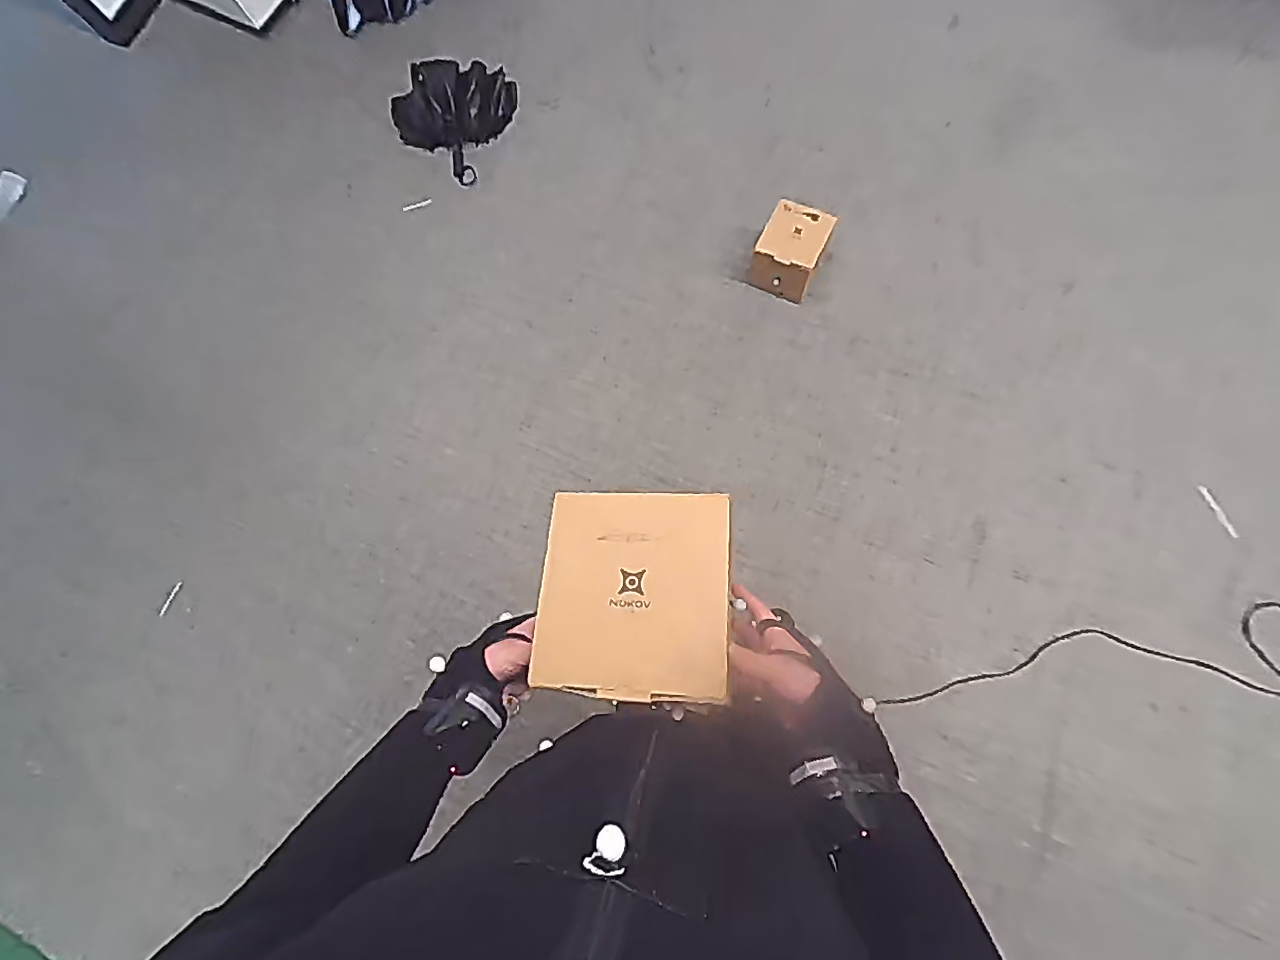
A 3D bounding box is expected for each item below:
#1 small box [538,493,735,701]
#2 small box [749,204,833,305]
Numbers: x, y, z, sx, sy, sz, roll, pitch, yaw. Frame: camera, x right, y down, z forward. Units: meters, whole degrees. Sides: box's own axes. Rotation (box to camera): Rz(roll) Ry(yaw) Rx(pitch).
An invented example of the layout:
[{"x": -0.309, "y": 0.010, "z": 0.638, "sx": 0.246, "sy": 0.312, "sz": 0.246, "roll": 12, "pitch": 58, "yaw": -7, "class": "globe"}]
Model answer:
[{"x": 0.011, "y": 0.124, "z": 0.545, "sx": 0.168, "sy": 0.176, "sz": 0.179, "roll": 0, "pitch": 66, "yaw": 9, "class": "small box"}, {"x": 0.418, "y": -0.630, "z": 1.528, "sx": 0.168, "sy": 0.176, "sz": 0.179, "roll": 26, "pitch": 81, "yaw": 11, "class": "small box"}]
